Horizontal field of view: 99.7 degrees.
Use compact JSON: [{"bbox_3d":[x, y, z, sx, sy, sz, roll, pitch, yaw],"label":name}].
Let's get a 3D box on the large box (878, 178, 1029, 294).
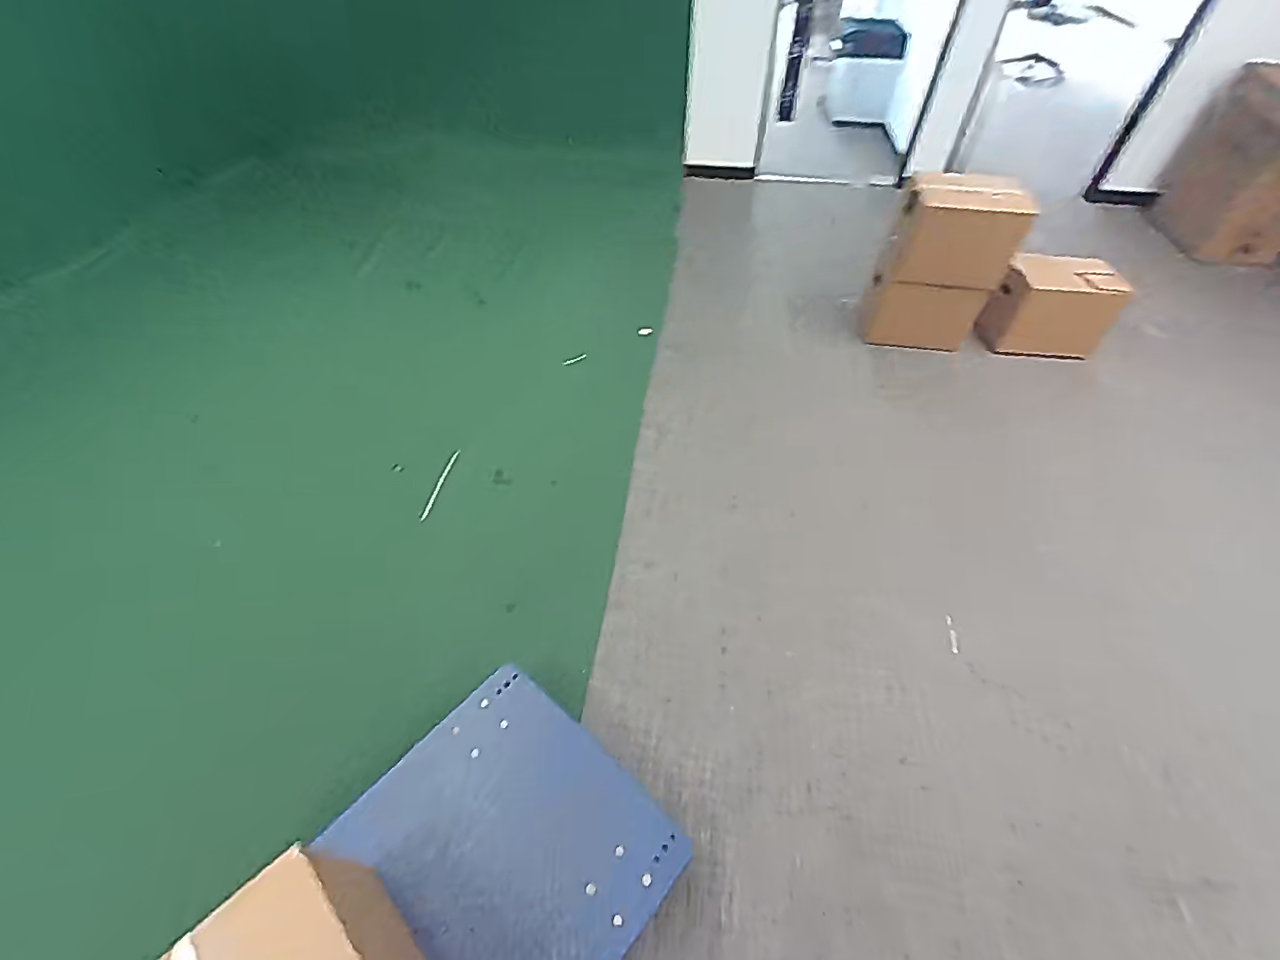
[{"bbox_3d":[1.235,-0.983,2.183,0.408,0.320,0.320,7,51,4],"label":"large box"}]
